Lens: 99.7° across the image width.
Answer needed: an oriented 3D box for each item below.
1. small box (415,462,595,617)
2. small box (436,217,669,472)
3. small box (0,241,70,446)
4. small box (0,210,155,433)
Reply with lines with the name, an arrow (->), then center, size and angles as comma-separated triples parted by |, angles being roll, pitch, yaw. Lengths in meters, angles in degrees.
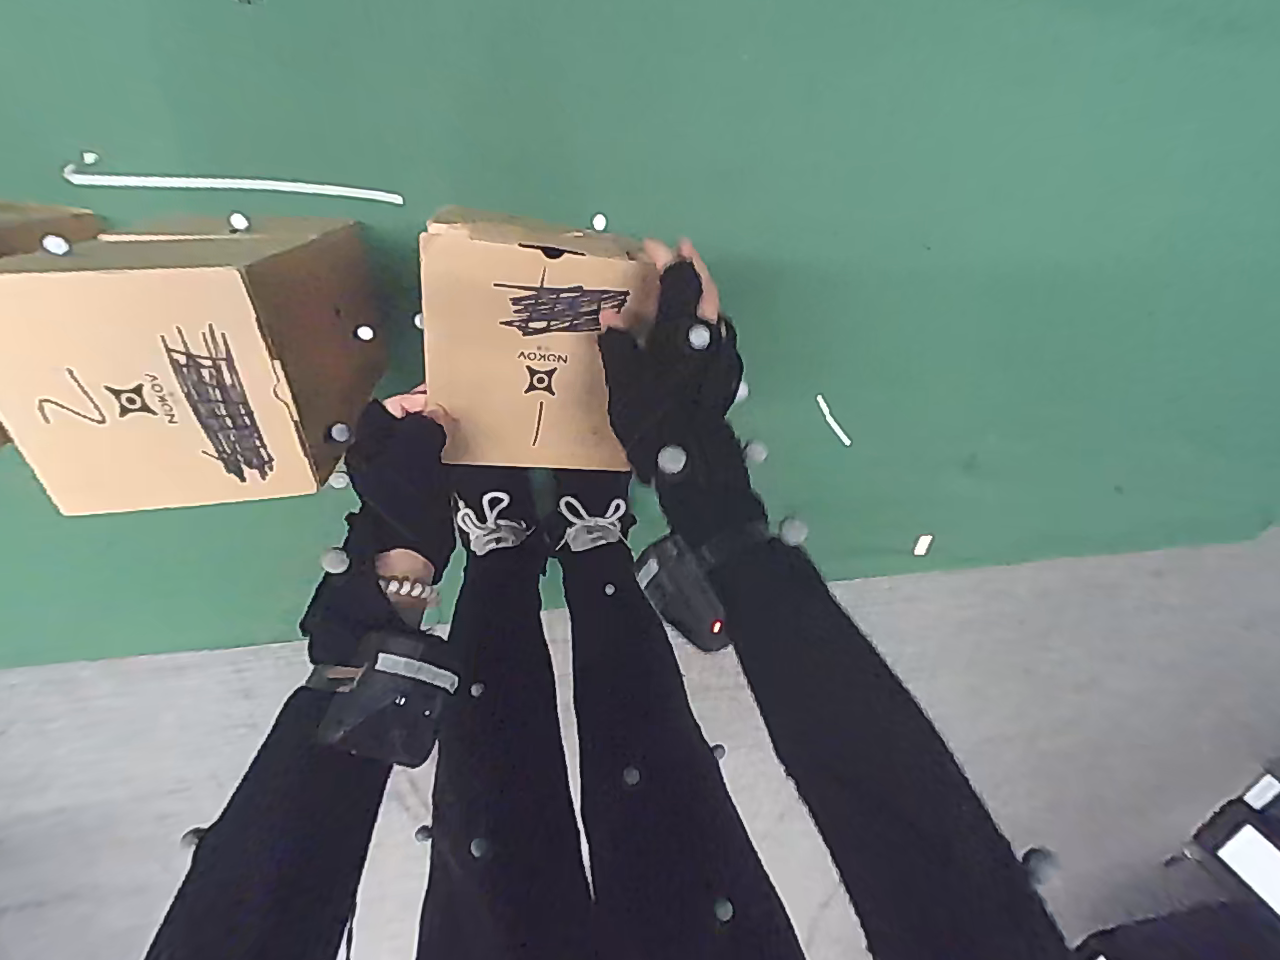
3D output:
small box -> -0.192, 0.056, 0.768 | 0.179, 0.176, 0.168 | 34, 119, -8
small box -> -0.086, -0.125, 0.481 | 0.168, 0.176, 0.179 | 3, 118, -14
small box -> -0.593, -0.093, 0.386 | 0.179, 0.176, 0.168 | 1, 118, -12
small box -> -0.633, -0.162, 0.531 | 0.168, 0.176, 0.179 | 1, 118, -13
